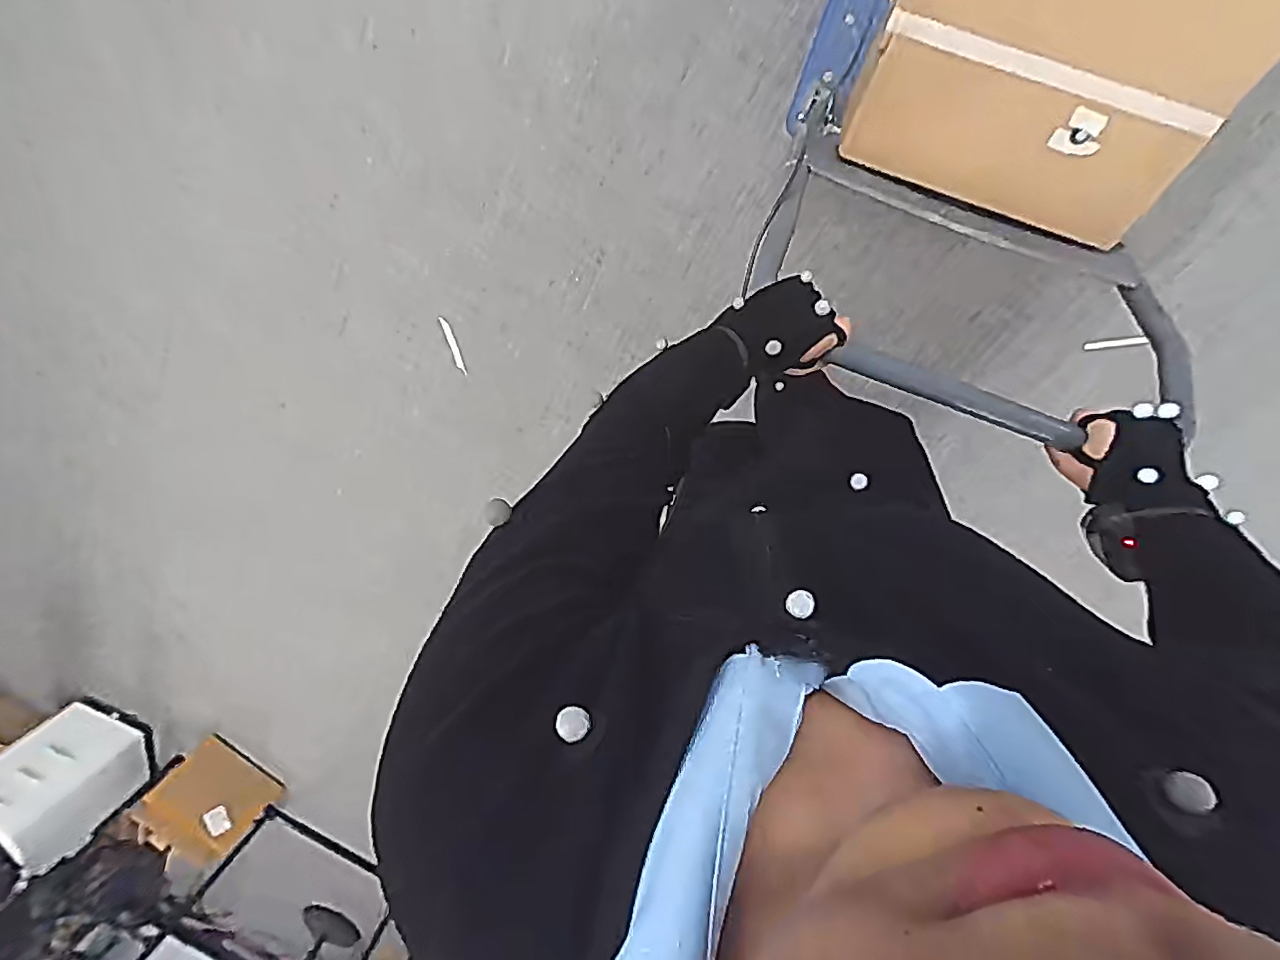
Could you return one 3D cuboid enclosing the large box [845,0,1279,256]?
[{"bbox_3d":[0.543,-0.575,0.750,0.408,0.320,0.320,21,137,1],"label":"large box"}]
